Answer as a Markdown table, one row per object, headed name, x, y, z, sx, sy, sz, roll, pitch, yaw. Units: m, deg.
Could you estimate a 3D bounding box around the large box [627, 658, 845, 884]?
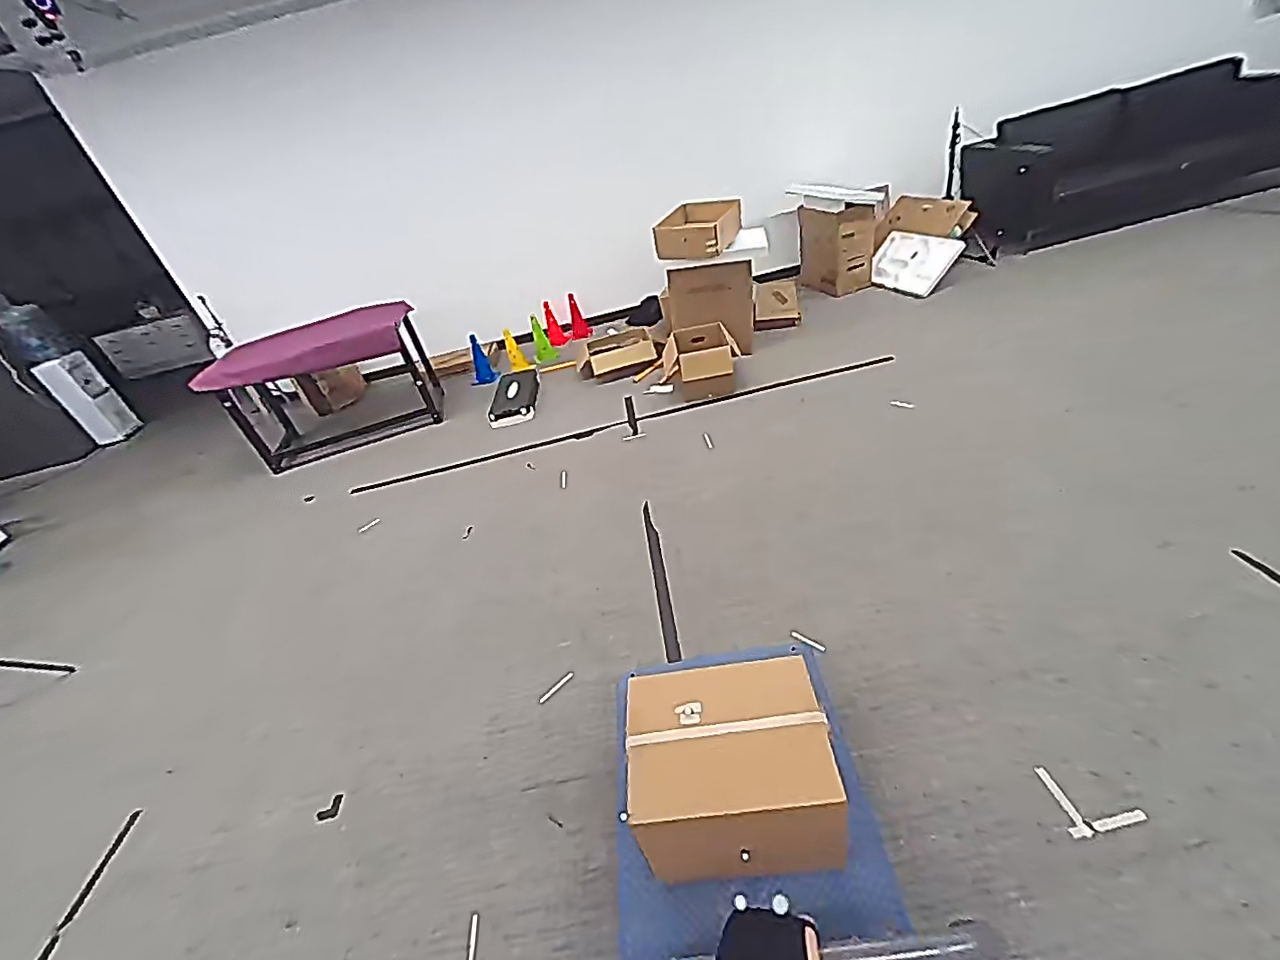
| name | x | y | z | sx | sy | sz | roll | pitch | yaw |
| --- | --- | --- | --- | --- | --- | --- | --- | --- | --- |
| large box | 0.203 | 0.646 | 1.200 | 0.408 | 0.320 | 0.320 | -11 | 33 | 7 |
